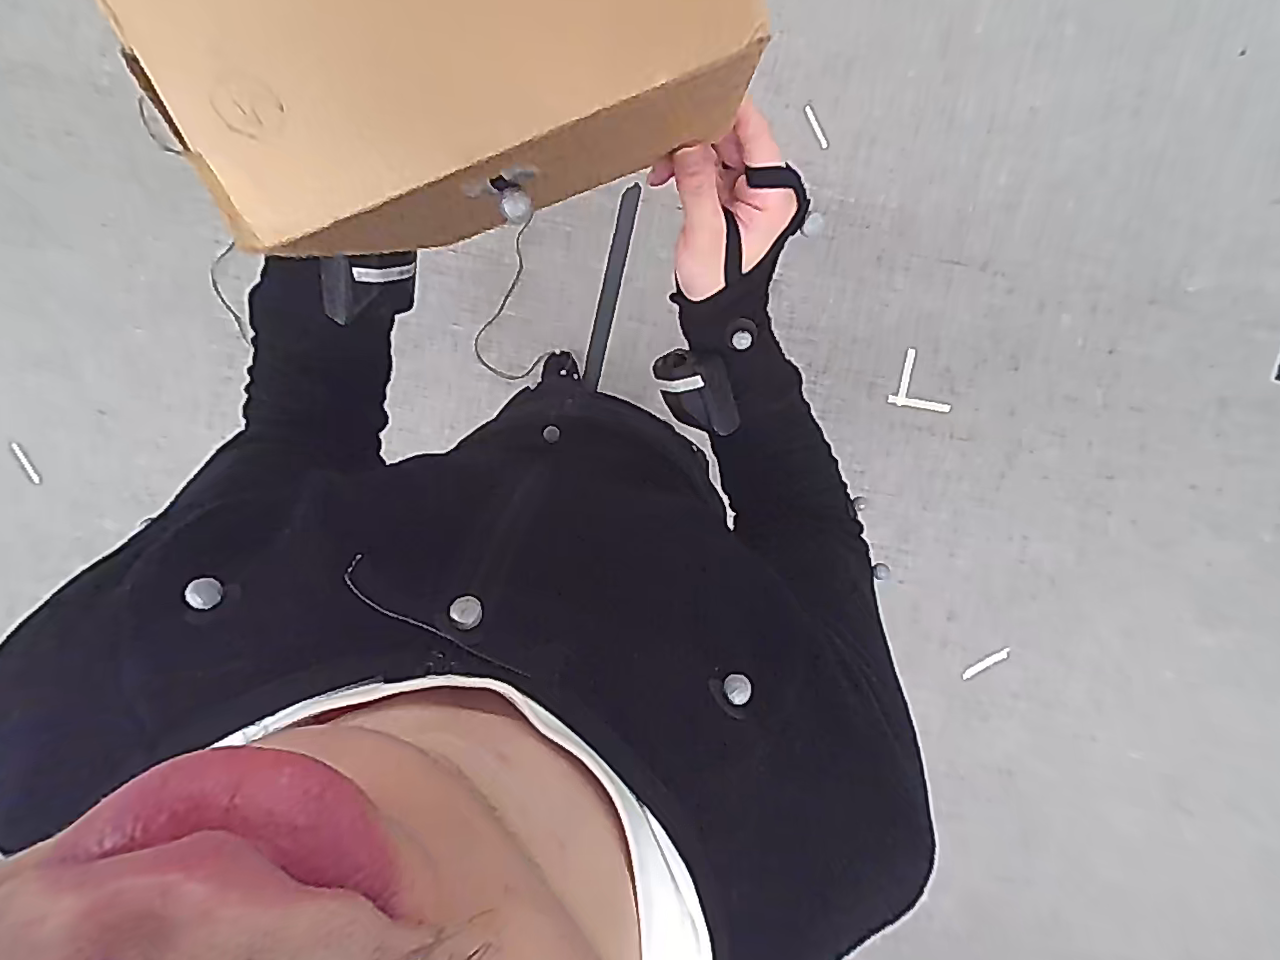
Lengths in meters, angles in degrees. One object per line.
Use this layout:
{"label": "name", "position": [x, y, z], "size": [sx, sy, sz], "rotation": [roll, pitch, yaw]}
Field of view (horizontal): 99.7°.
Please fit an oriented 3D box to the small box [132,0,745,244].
{"label": "small box", "position": [-0.068, -0.206, 0.214], "size": [0.179, 0.176, 0.168], "rotation": [-16, 113, 12]}
